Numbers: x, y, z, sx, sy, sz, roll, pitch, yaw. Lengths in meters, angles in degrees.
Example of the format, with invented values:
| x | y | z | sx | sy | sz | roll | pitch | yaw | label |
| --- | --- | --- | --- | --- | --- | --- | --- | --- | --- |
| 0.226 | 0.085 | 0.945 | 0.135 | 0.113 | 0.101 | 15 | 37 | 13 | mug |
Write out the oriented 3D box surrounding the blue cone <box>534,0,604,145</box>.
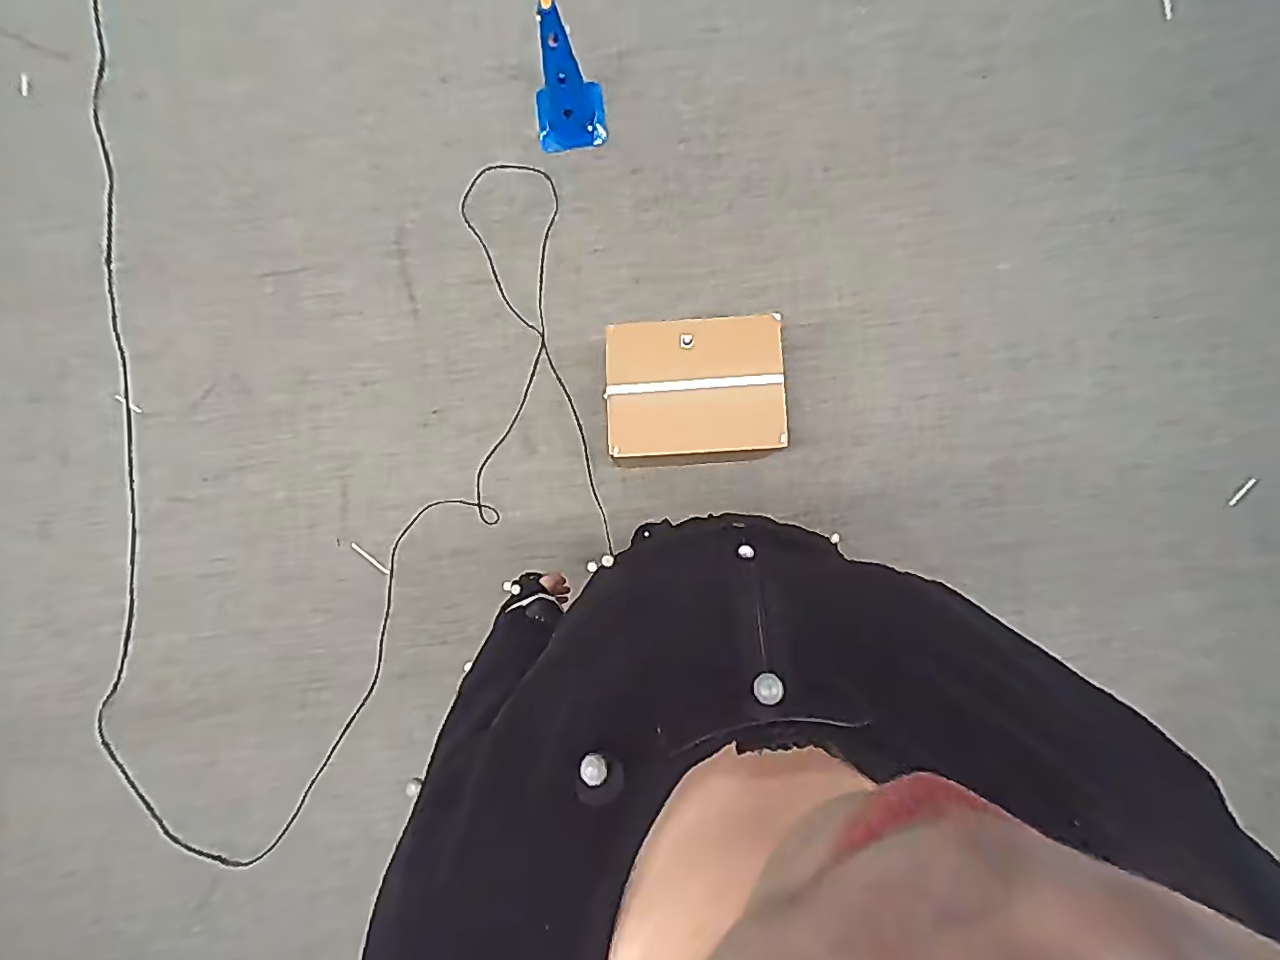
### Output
| x | y | z | sx | sy | sz | roll | pitch | yaw | label |
| --- | --- | --- | --- | --- | --- | --- | --- | --- | --- |
| -0.211 | -1.094 | 1.417 | 0.193 | 0.380 | 0.192 | -10 | 86 | 0 | blue cone |
